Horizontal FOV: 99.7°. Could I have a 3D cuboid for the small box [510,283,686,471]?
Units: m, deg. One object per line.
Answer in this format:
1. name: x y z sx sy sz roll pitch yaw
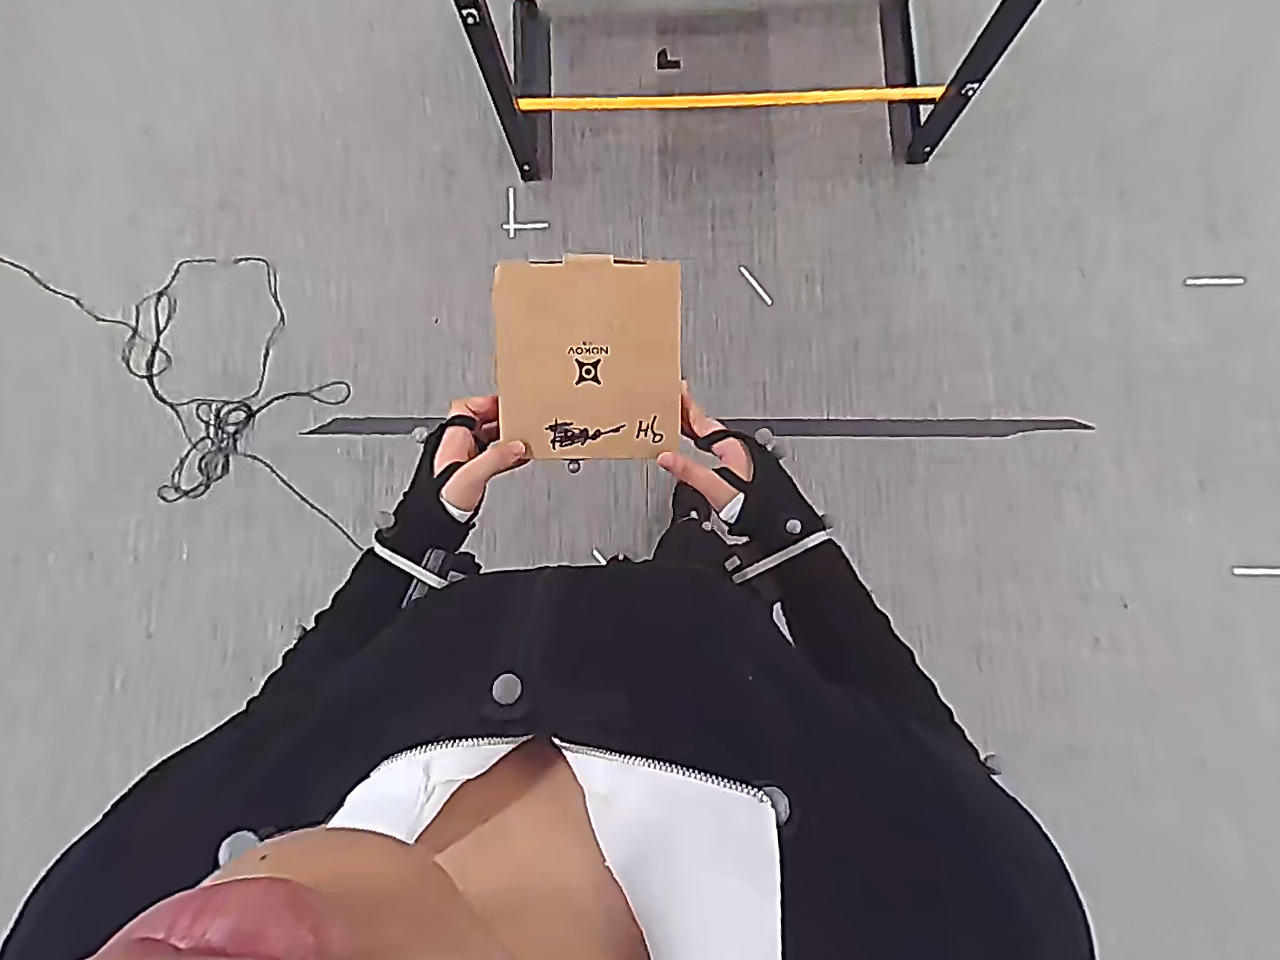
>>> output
1. small box: -0.041 -0.100 0.583 0.168 0.176 0.179 0 95 0
